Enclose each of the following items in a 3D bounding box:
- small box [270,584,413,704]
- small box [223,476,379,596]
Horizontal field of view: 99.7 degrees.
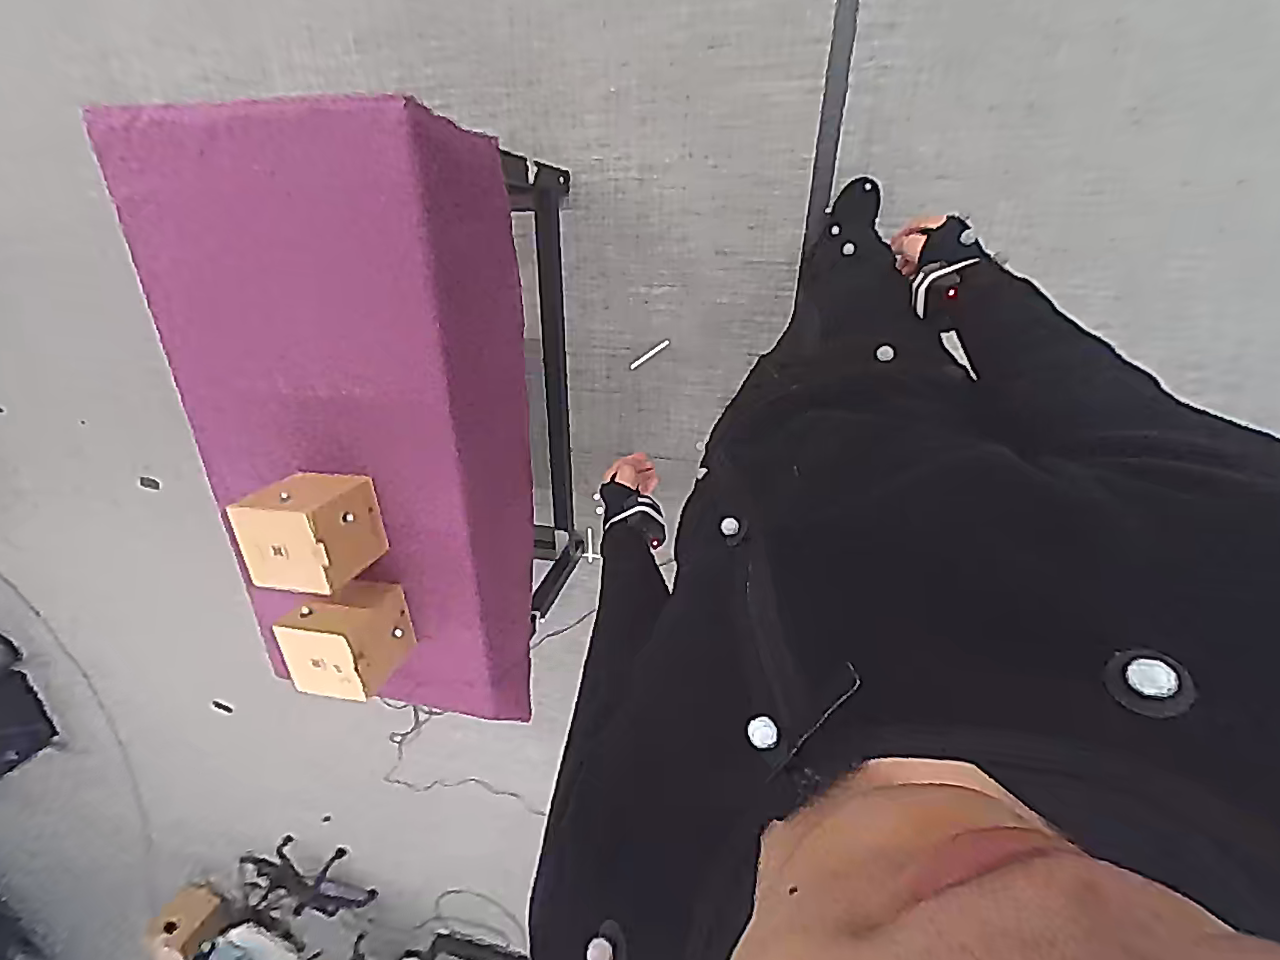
[{"bbox_3d":[-0.610,0.332,1.126,0.179,0.176,0.168,2,114,13],"label":"small box"},{"bbox_3d":[-0.628,0.100,1.033,0.179,0.176,0.168,3,113,13],"label":"small box"}]
